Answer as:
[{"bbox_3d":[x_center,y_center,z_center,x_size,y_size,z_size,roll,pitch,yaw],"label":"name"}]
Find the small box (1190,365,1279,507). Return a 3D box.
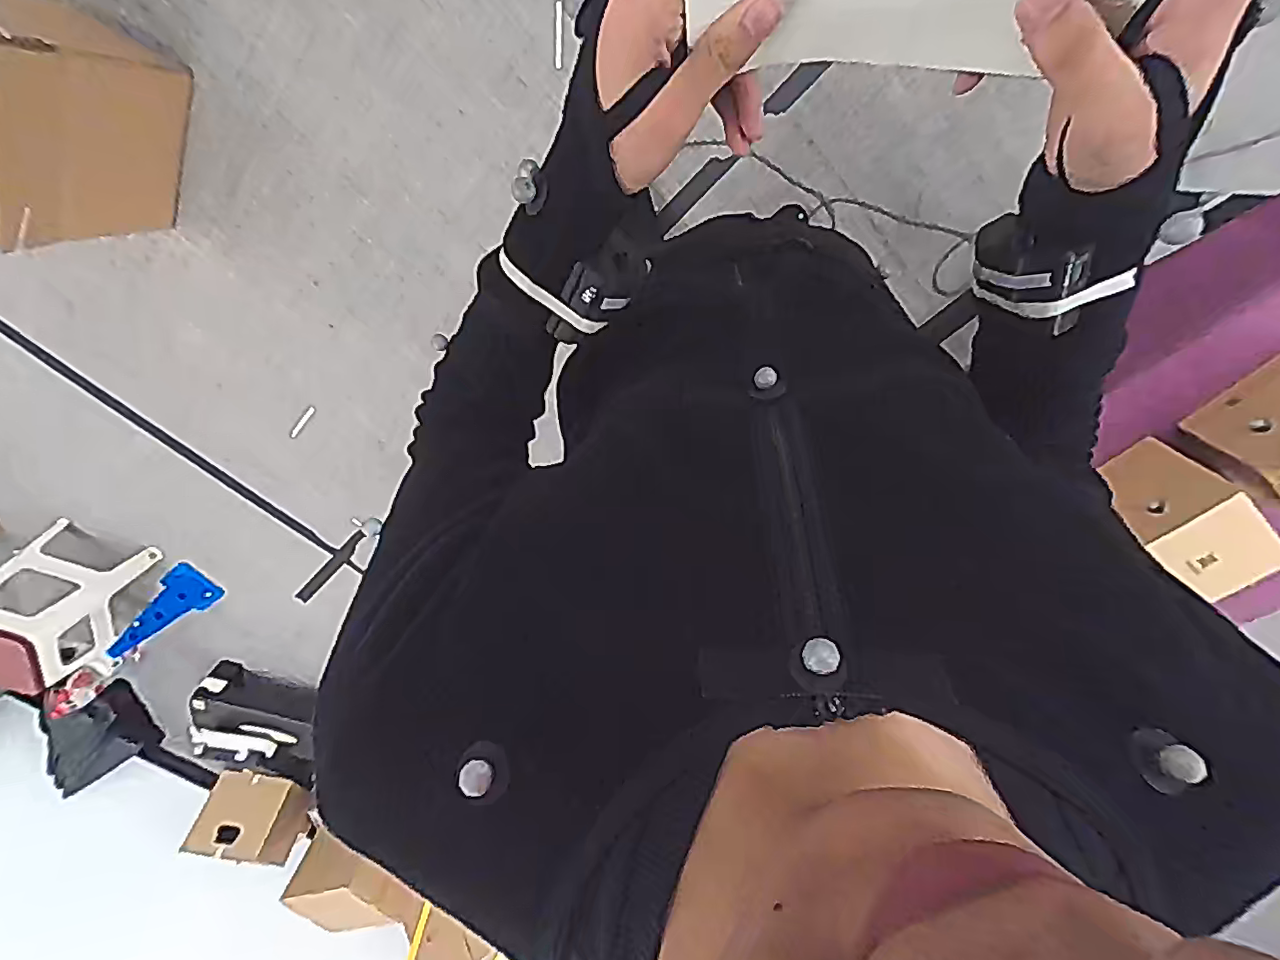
[{"bbox_3d":[0.927,-0.051,0.733,0.179,0.176,0.168,34,118,-15],"label":"small box"}]

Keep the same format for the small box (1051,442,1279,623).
[{"bbox_3d":[0.787,0.073,0.816,0.168,0.176,0.179,38,117,-16],"label":"small box"}]
